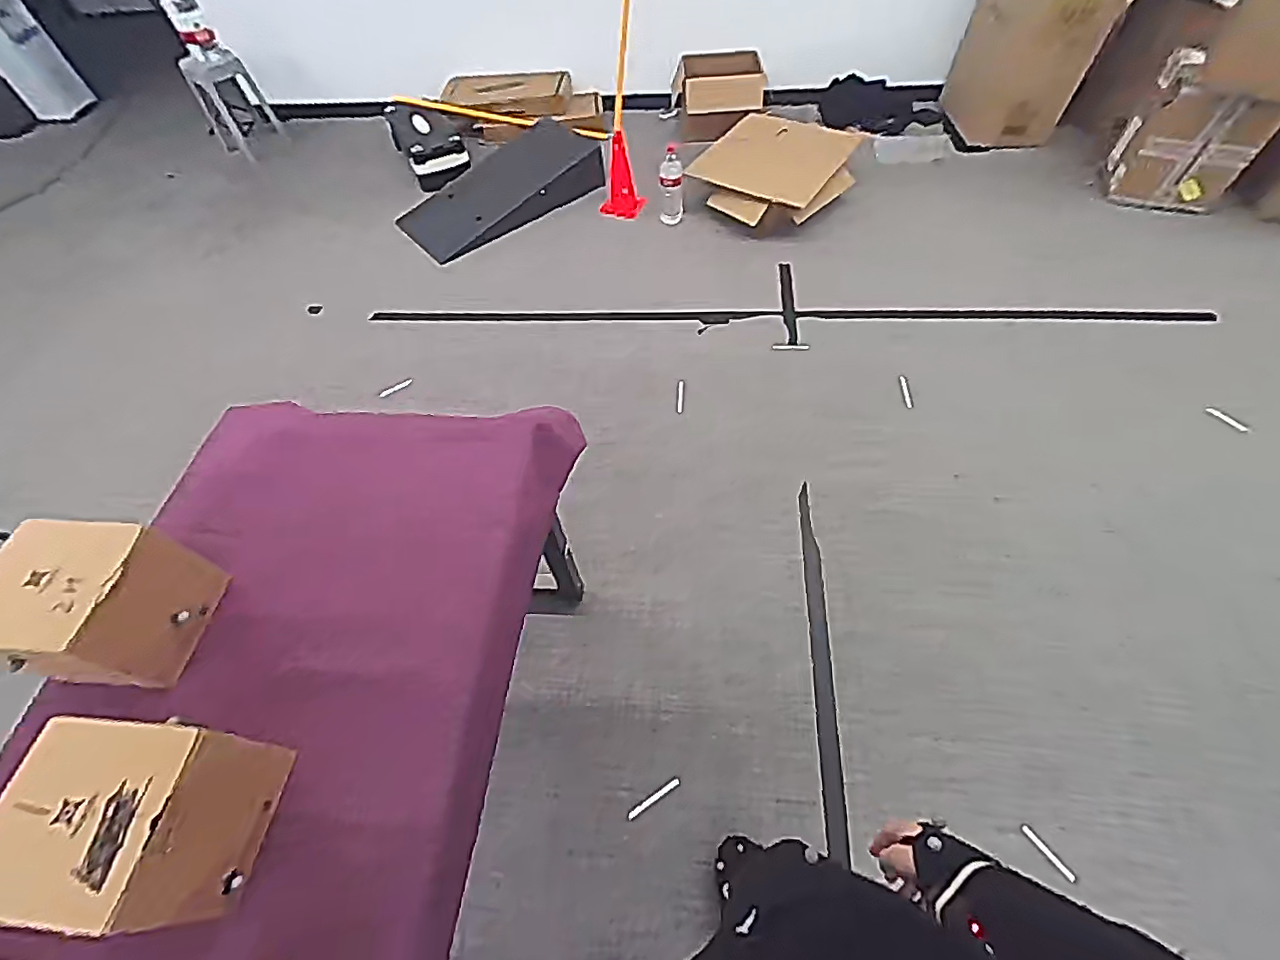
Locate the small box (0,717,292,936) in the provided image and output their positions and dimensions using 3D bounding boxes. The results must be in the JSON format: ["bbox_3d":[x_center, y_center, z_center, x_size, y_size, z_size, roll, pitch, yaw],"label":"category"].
[{"bbox_3d":[-0.528,0.365,0.584,0.179,0.176,0.168,2,56,6],"label":"small box"}]

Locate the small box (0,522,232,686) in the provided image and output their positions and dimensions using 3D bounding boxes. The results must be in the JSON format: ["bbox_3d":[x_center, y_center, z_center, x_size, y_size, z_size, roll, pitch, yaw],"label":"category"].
[{"bbox_3d":[-0.716,0.171,0.727,0.179,0.176,0.168,2,57,4],"label":"small box"}]
